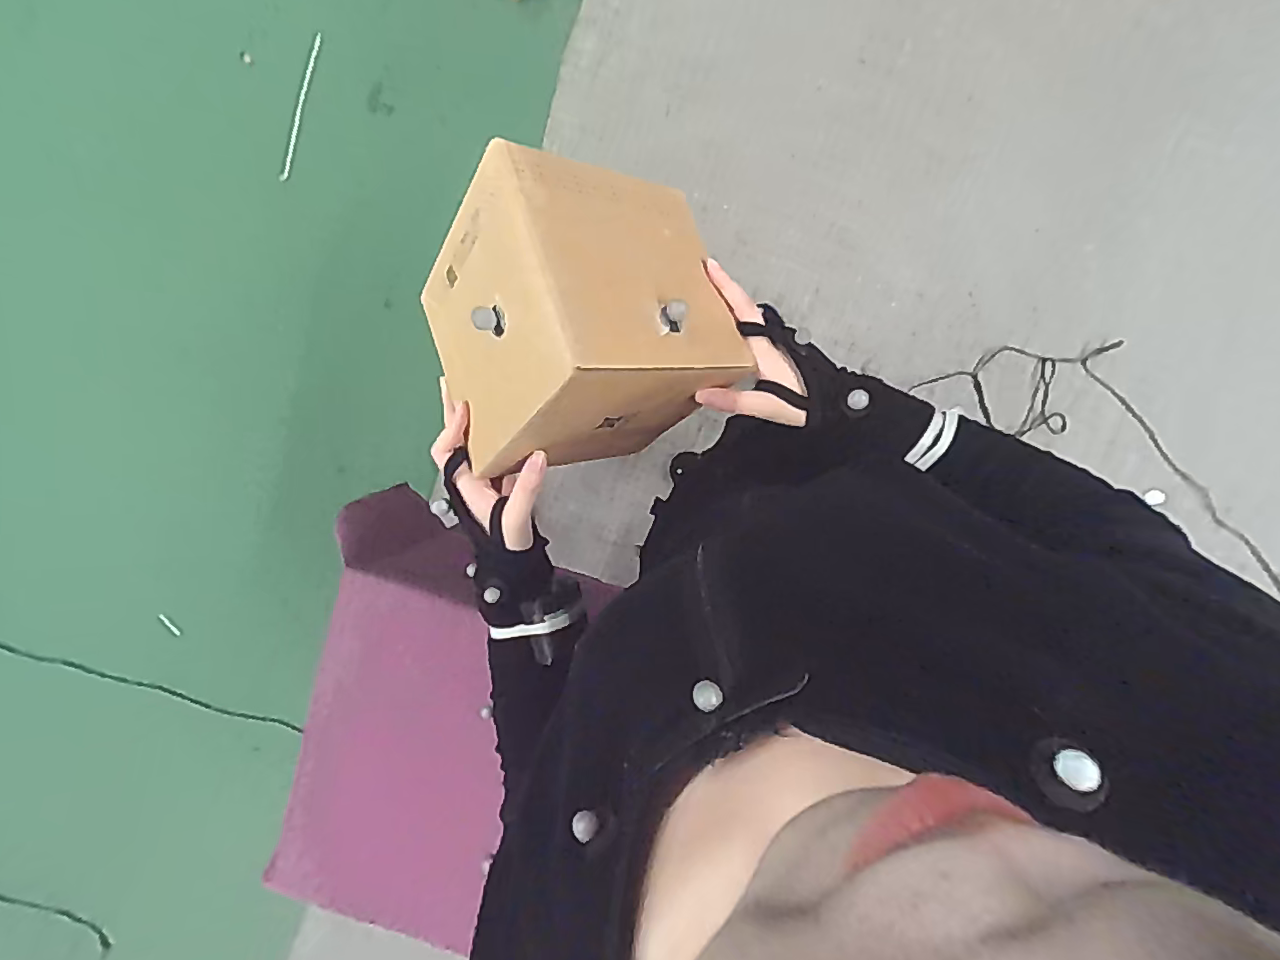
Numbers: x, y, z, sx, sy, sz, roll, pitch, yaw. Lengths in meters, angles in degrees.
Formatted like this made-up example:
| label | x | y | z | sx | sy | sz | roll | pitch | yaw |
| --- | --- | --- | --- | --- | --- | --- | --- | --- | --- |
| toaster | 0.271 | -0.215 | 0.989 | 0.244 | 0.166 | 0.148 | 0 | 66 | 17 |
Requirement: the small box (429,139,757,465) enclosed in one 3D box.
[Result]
| label | x | y | z | sx | sy | sz | roll | pitch | yaw |
| --- | --- | --- | --- | --- | --- | --- | --- | --- | --- |
| small box | -0.046 | -0.129 | 0.432 | 0.168 | 0.179 | 0.176 | -32 | 74 | 46 |
